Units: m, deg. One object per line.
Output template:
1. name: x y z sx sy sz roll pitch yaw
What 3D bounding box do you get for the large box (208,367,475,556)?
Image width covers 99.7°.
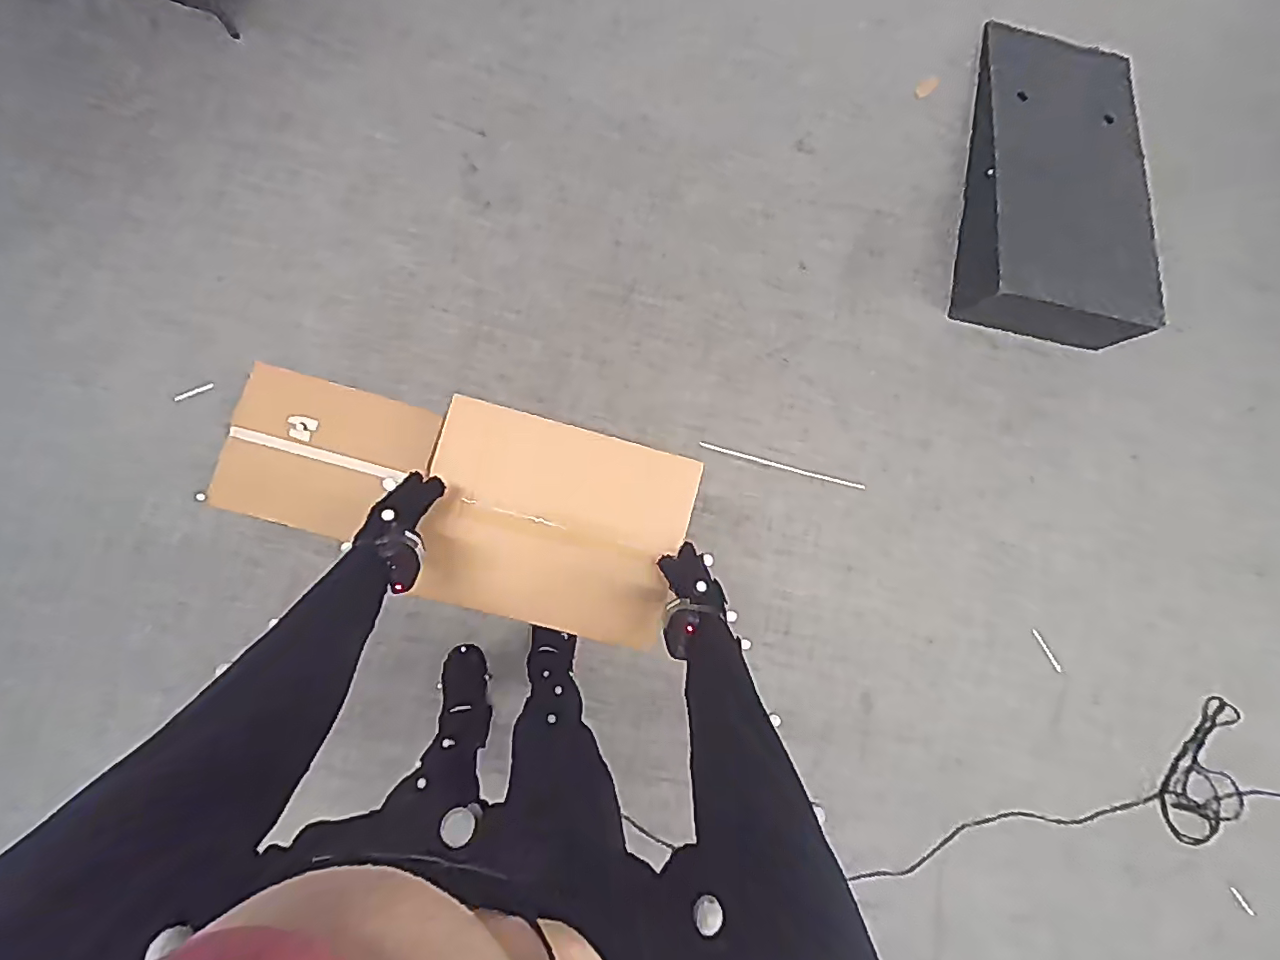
1. large box: -0.650 -0.026 1.257 0.408 0.320 0.320 16 83 -2
